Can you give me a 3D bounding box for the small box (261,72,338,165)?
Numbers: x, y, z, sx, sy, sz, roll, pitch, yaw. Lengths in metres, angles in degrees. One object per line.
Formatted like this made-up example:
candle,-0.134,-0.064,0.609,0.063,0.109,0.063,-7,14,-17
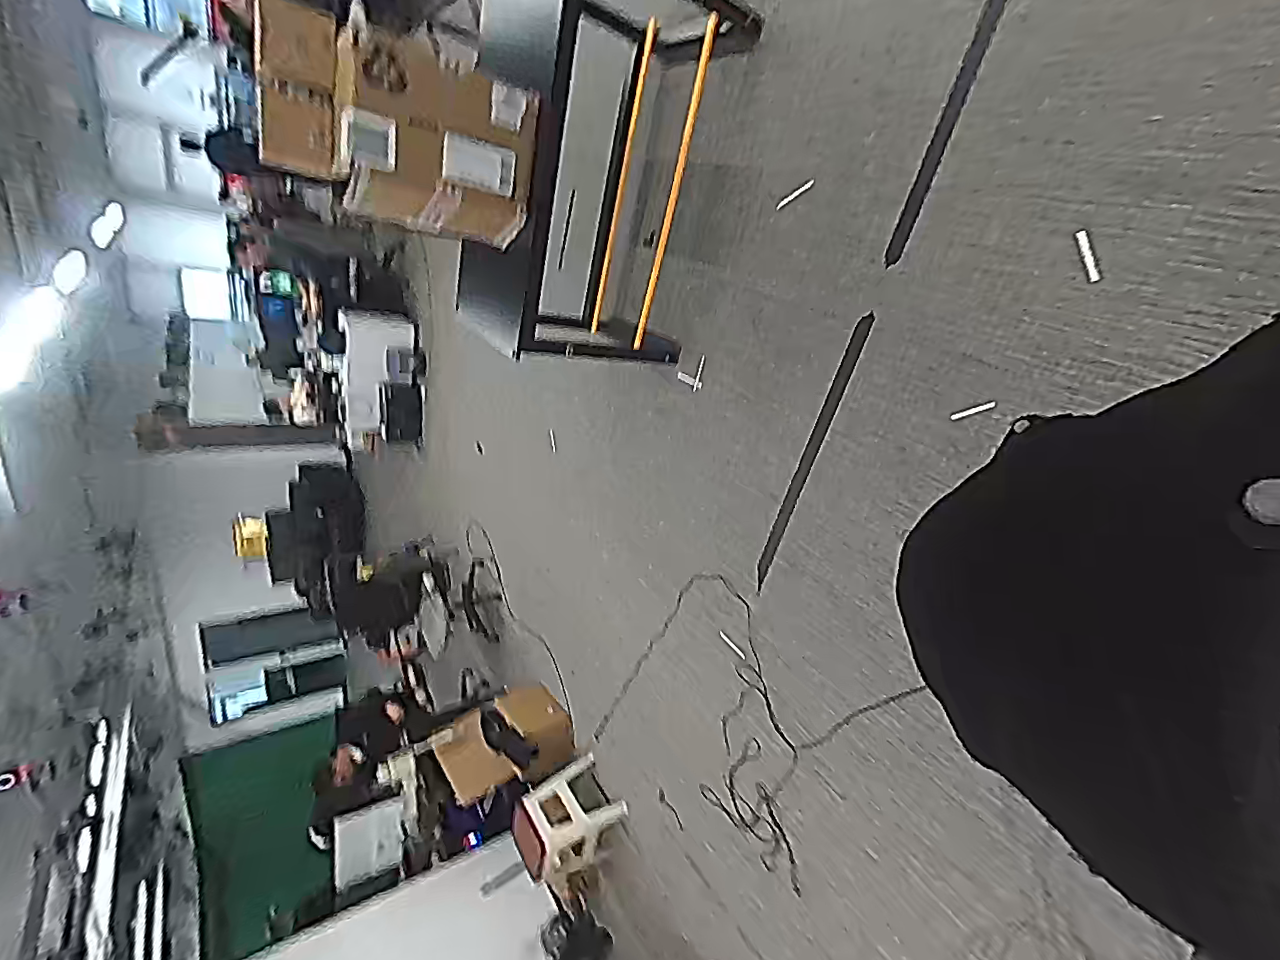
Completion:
small box,-0.957,-1.002,1.517,0.179,0.176,0.168,32,118,48
